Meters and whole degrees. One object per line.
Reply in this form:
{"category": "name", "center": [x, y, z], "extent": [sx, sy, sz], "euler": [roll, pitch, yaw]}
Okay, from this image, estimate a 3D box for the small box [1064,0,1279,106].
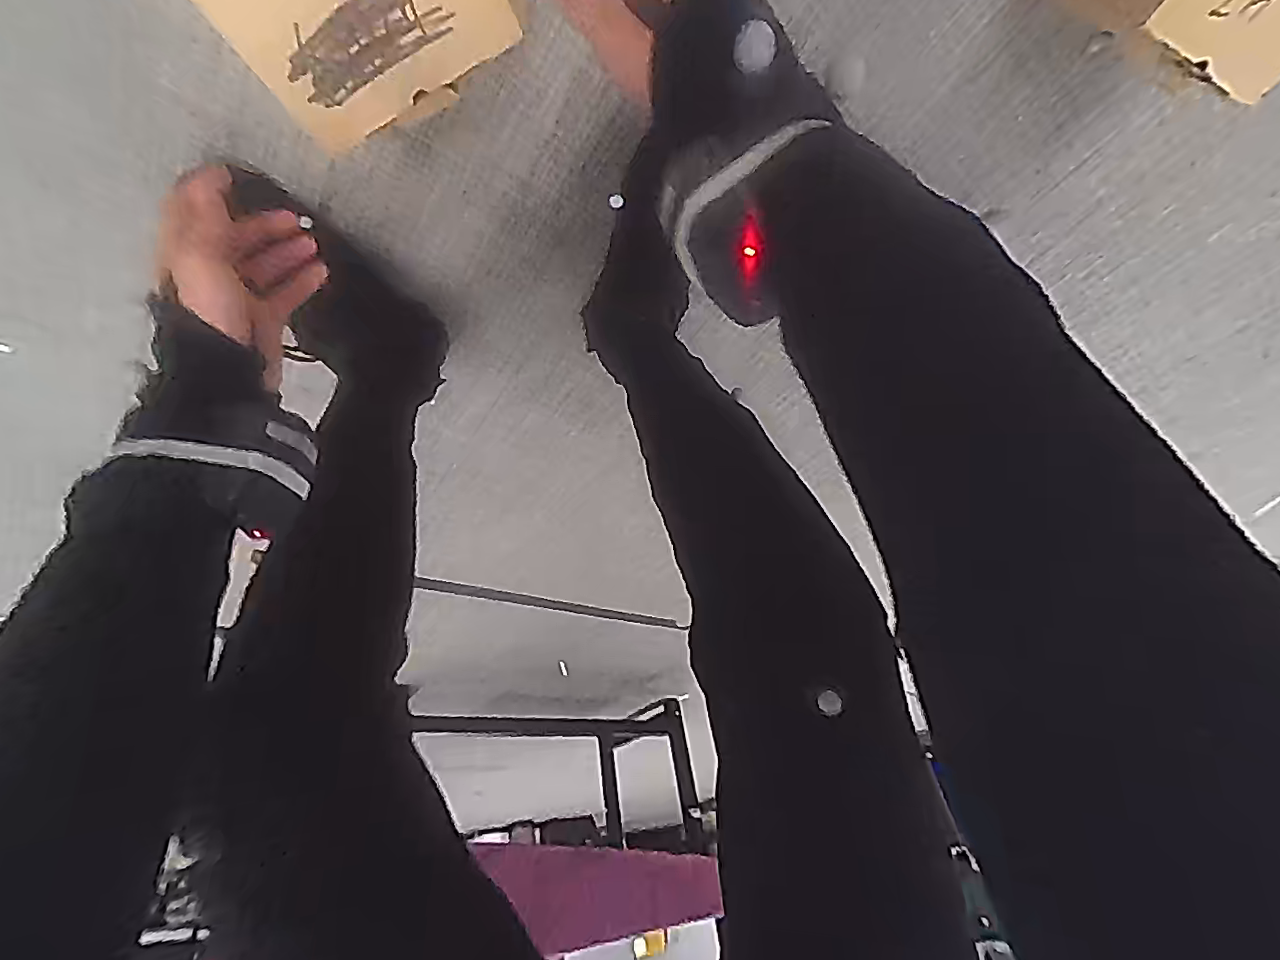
{"category": "small box", "center": [0.469, -0.443, 0.416], "extent": [0.168, 0.176, 0.179], "euler": [8, 140, -23]}
